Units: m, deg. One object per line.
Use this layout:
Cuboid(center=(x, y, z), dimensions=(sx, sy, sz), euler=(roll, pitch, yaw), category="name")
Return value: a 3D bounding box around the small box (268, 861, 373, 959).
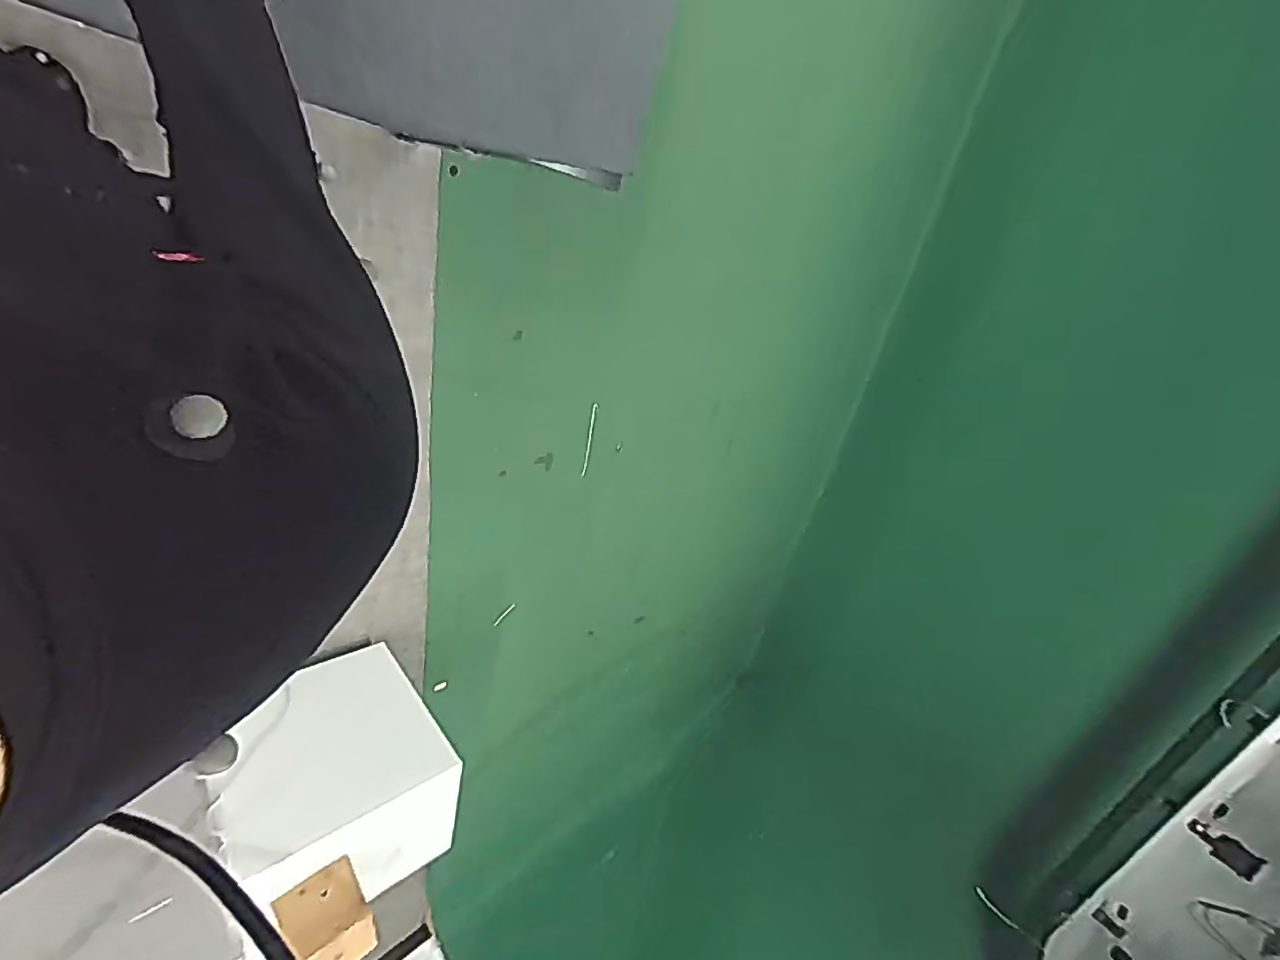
Cuboid(center=(-0.759, 1.066, 1.287), dimensions=(0.168, 0.176, 0.179), euler=(-19, 130, -41), category="small box")
